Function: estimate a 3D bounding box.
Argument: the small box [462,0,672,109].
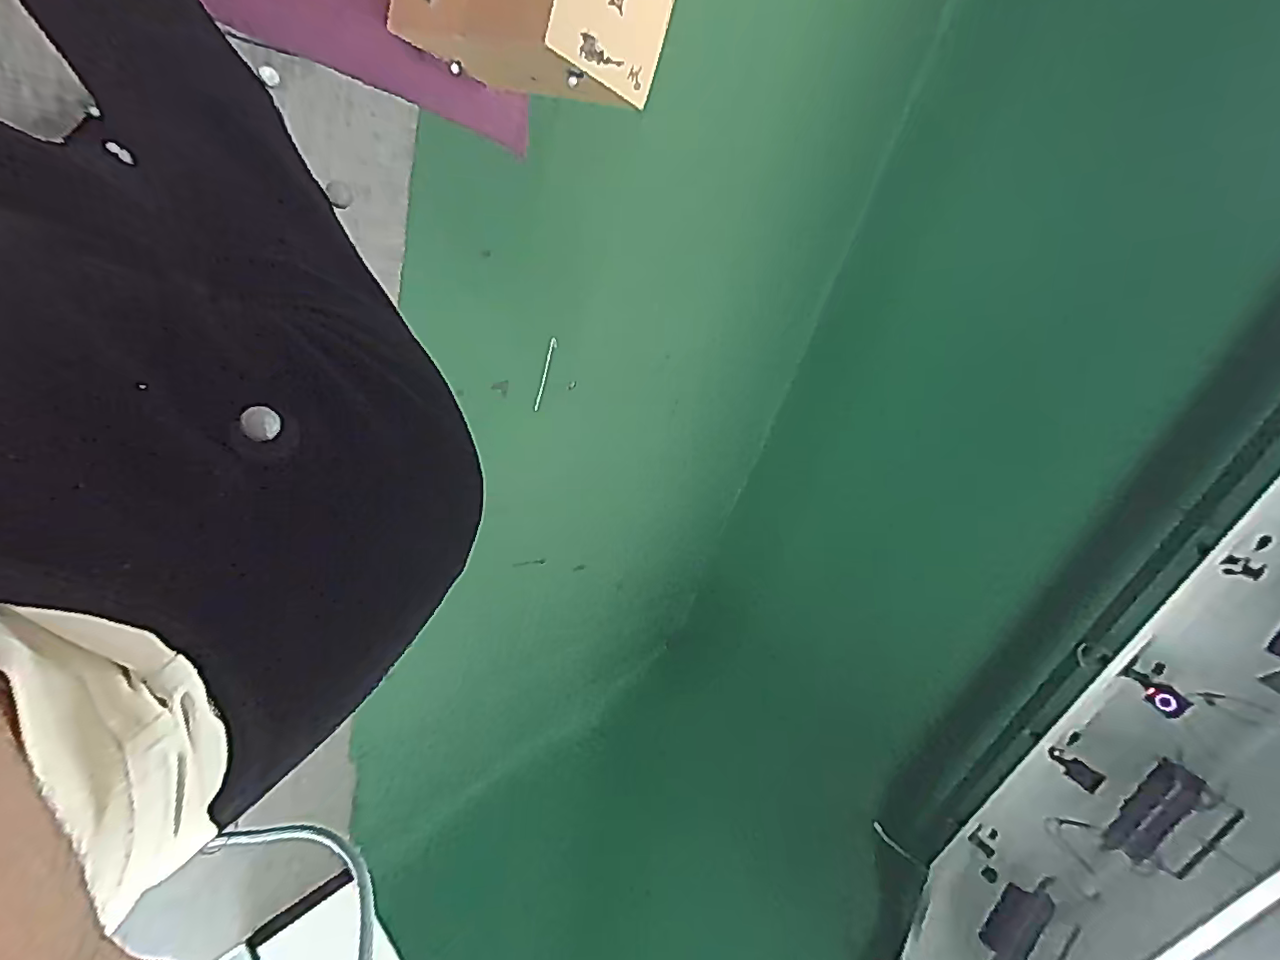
[{"bbox_3d":[-0.081,-0.564,0.620,0.168,0.176,0.179,-9,125,-50],"label":"small box"}]
